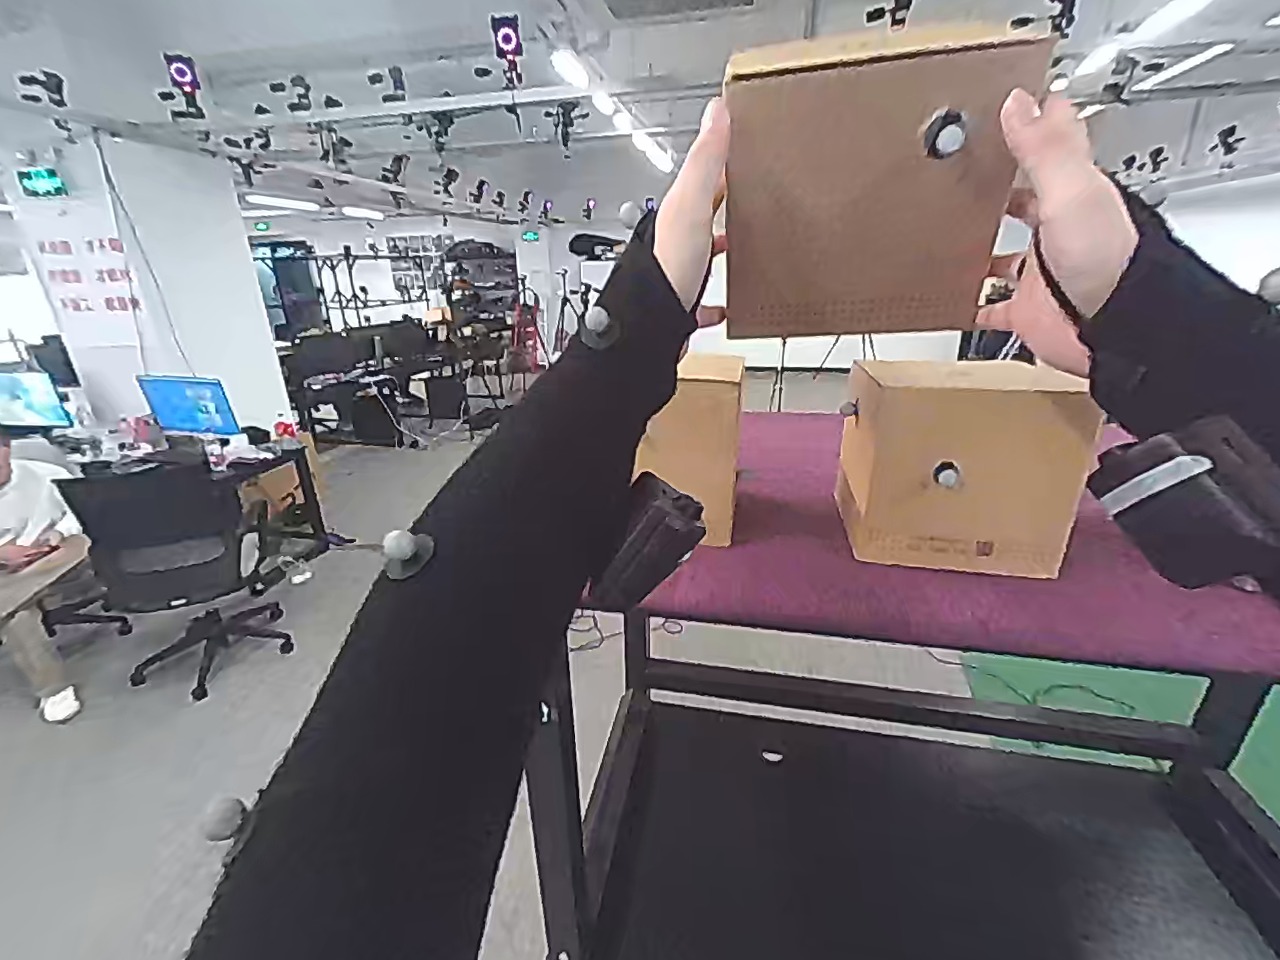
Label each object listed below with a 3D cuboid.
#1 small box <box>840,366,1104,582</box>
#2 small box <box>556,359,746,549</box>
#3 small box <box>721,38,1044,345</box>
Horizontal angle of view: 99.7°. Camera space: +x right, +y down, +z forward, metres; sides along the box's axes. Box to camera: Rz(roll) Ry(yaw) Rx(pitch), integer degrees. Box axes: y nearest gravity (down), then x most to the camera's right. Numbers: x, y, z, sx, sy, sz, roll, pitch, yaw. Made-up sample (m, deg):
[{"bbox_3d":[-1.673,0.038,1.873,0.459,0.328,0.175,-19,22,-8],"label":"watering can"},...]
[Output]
[{"bbox_3d":[0.297,-0.016,0.529,0.168,0.176,0.179,3,19,12],"label":"small box"},{"bbox_3d":[0.022,-0.036,0.591,0.179,0.176,0.168,4,21,11],"label":"small box"},{"bbox_3d":[0.156,-0.216,0.415,0.179,0.176,0.168,0,40,12],"label":"small box"}]
